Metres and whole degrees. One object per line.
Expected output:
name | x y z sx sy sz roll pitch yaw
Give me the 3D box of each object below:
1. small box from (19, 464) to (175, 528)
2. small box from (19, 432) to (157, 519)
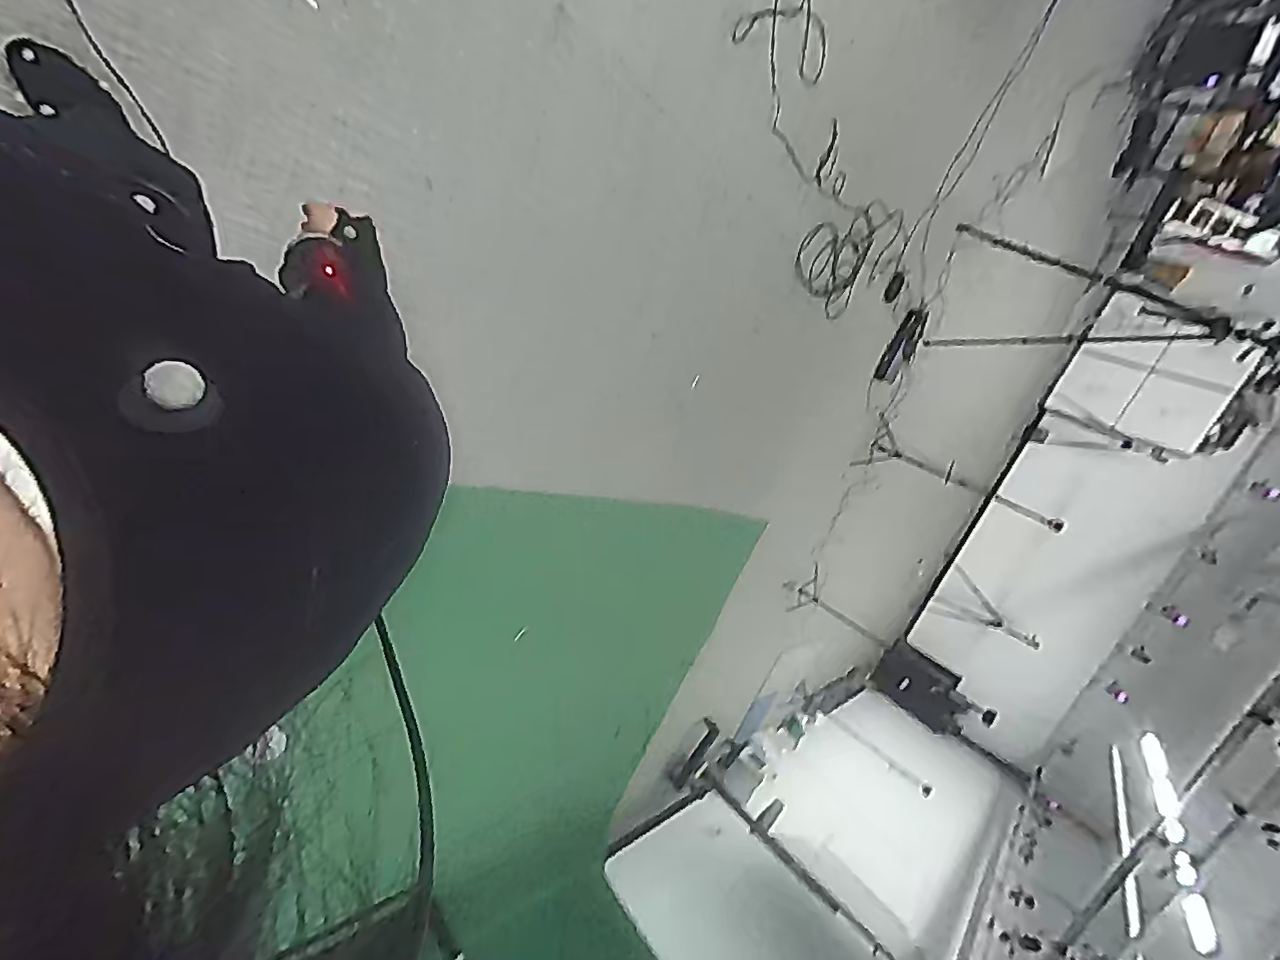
small box | -0.973 0.084 0.966 0.179 0.176 0.168 12 106 -49
small box | -1.088 0.021 1.065 0.168 0.176 0.179 11 107 -49
